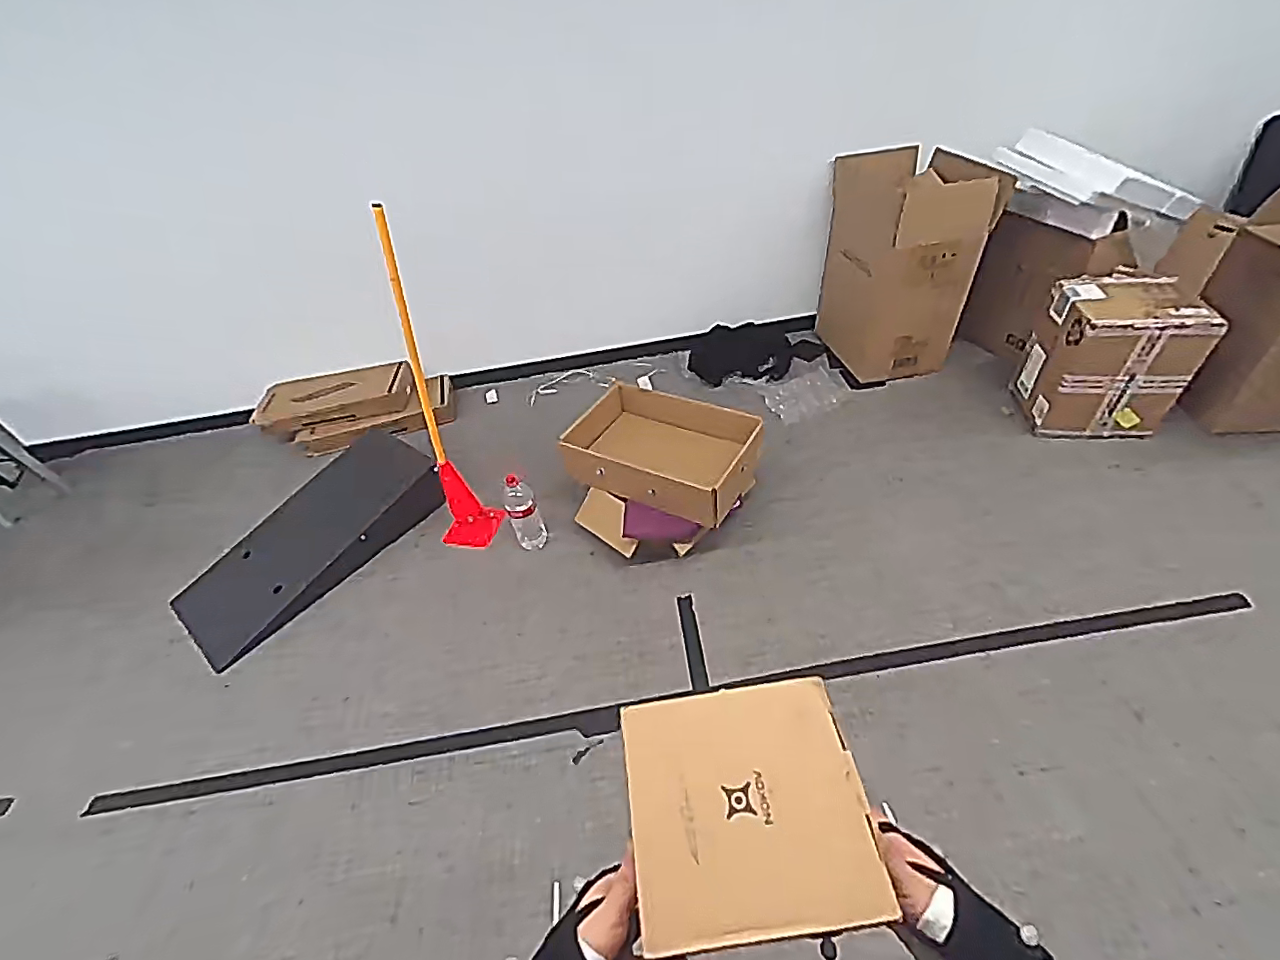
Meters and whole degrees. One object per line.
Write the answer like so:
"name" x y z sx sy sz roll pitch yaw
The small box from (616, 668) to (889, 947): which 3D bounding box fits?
"small box" 0.083 0.288 0.473 0.179 0.176 0.168 -11 48 1
